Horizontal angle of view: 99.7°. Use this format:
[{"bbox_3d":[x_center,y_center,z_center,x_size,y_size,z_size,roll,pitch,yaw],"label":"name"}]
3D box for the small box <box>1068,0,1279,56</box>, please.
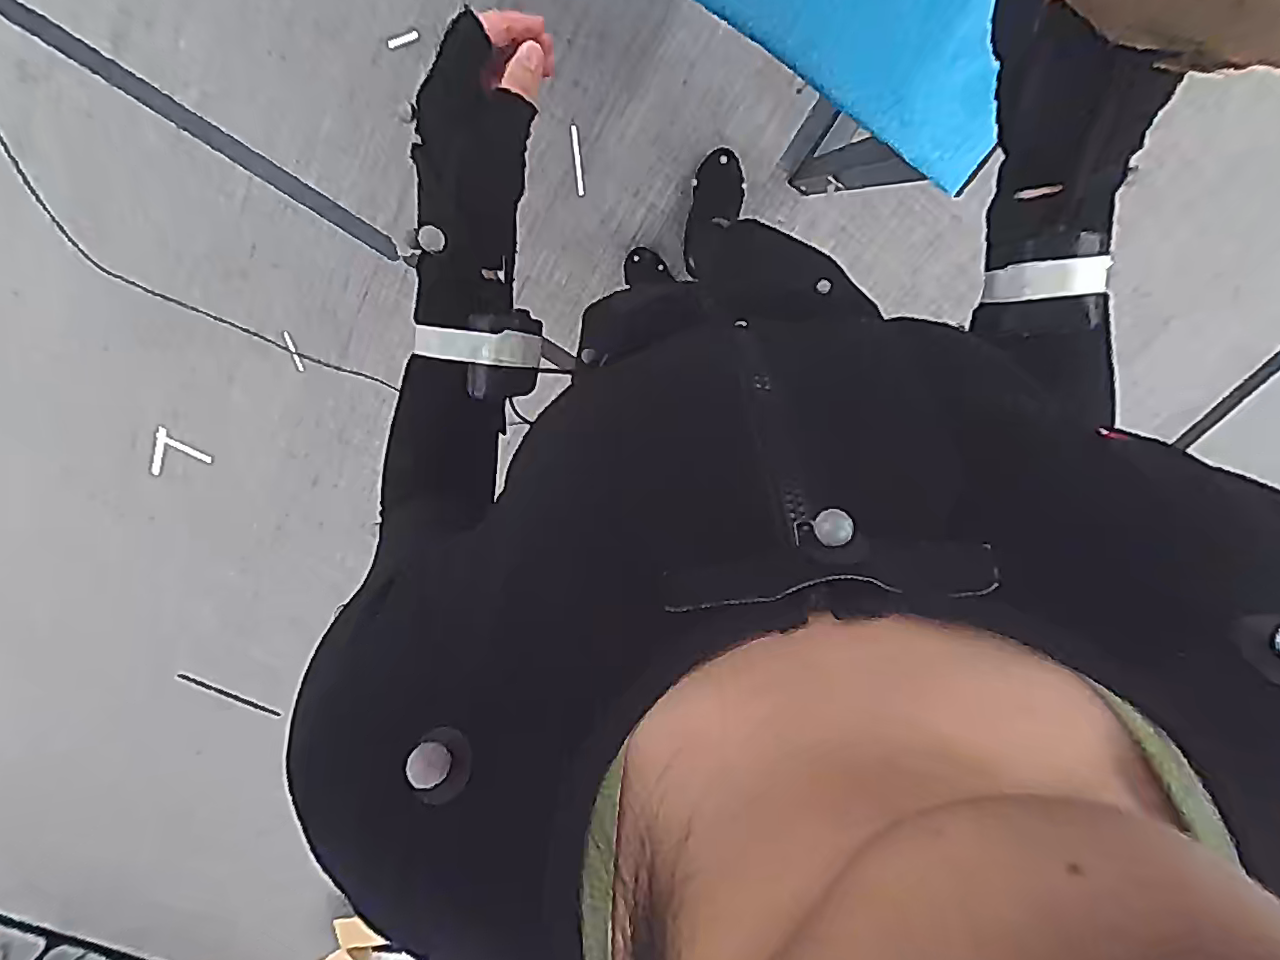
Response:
[{"bbox_3d":[0.251,-0.303,0.194,0.179,0.168,0.176,26,127,-20],"label":"small box"}]
